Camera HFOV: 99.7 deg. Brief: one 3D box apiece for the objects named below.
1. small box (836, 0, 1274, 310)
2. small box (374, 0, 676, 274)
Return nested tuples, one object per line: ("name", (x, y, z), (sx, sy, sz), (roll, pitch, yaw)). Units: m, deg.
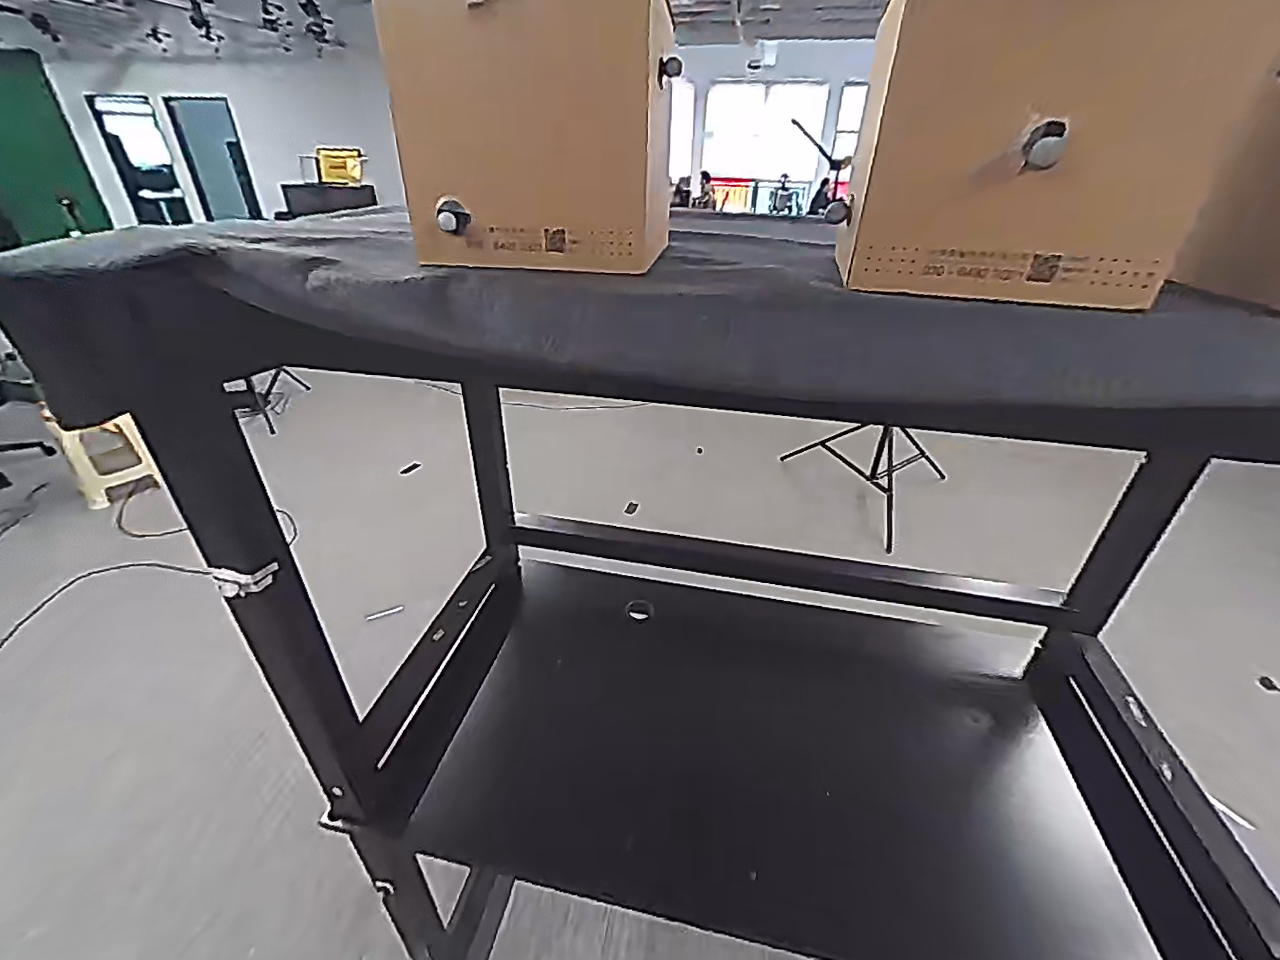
("small box", (0.231, -0.217, 0.354), (0.168, 0.176, 0.179), (9, 31, 12))
("small box", (-0.063, -0.257, 0.411), (0.168, 0.176, 0.179), (5, 29, 6))
